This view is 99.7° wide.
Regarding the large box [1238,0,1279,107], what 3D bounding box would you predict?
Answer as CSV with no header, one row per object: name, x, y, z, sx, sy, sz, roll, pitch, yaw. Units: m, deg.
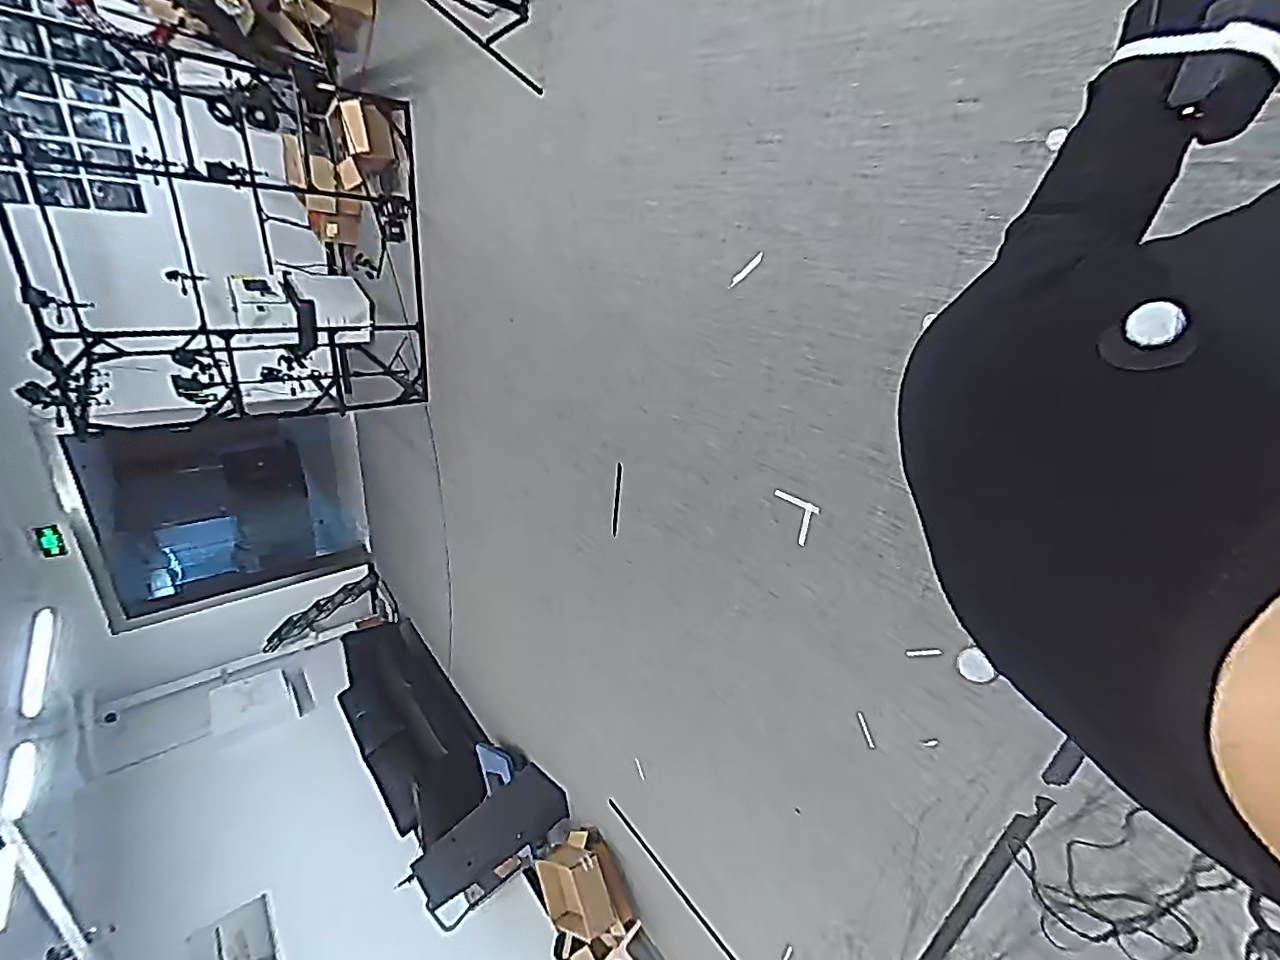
large box,0.652,-0.392,0.268,0.408,0.320,0.320,29,130,36
